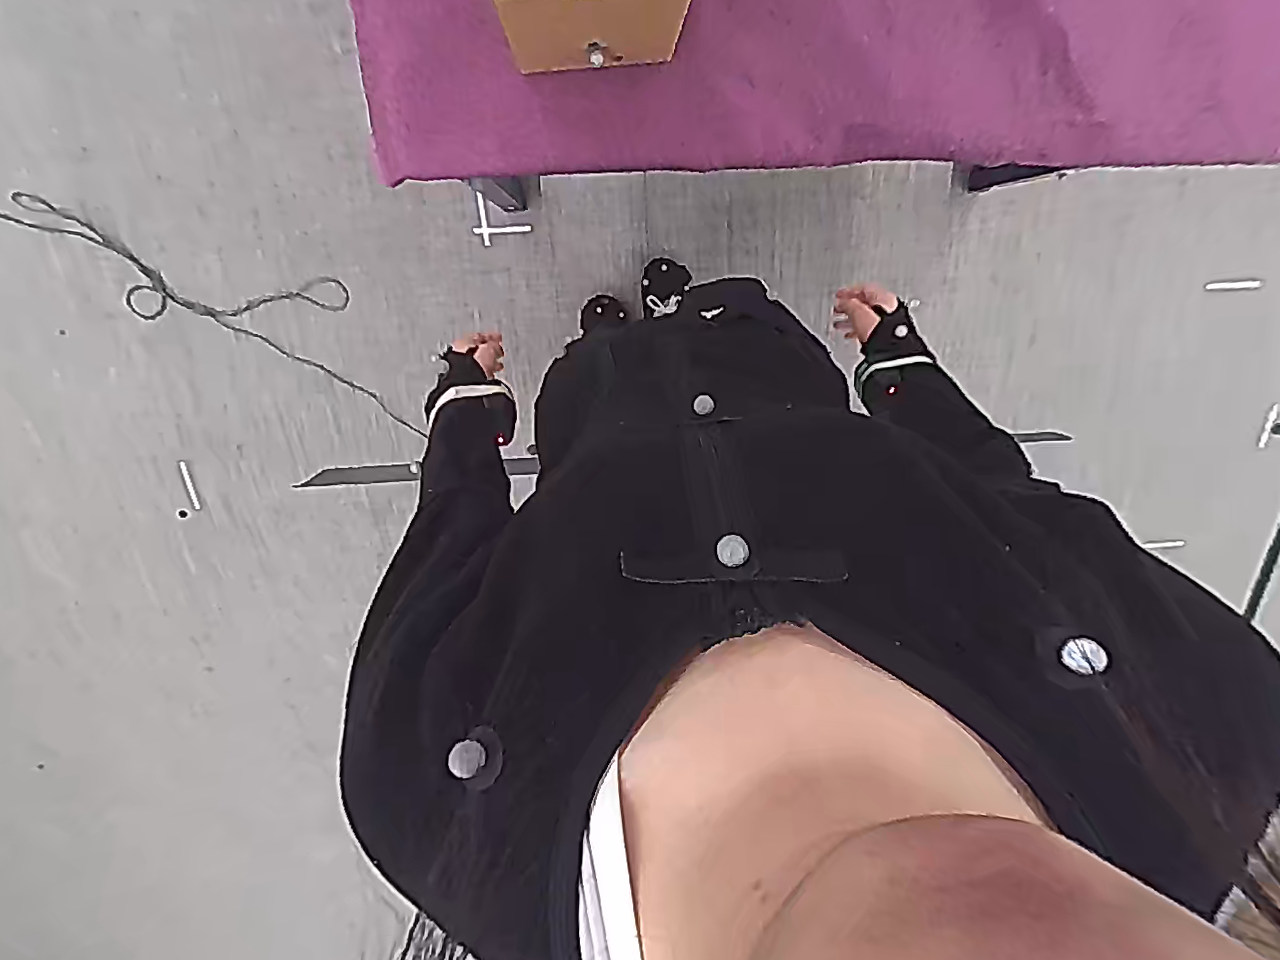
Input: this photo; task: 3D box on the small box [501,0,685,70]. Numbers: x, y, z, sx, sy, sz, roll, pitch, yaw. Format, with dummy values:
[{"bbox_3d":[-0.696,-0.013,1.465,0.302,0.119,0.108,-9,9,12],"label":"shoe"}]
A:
[{"bbox_3d":[-0.052,-0.508,0.486,0.168,0.176,0.179,-6,110,-2],"label":"small box"}]
